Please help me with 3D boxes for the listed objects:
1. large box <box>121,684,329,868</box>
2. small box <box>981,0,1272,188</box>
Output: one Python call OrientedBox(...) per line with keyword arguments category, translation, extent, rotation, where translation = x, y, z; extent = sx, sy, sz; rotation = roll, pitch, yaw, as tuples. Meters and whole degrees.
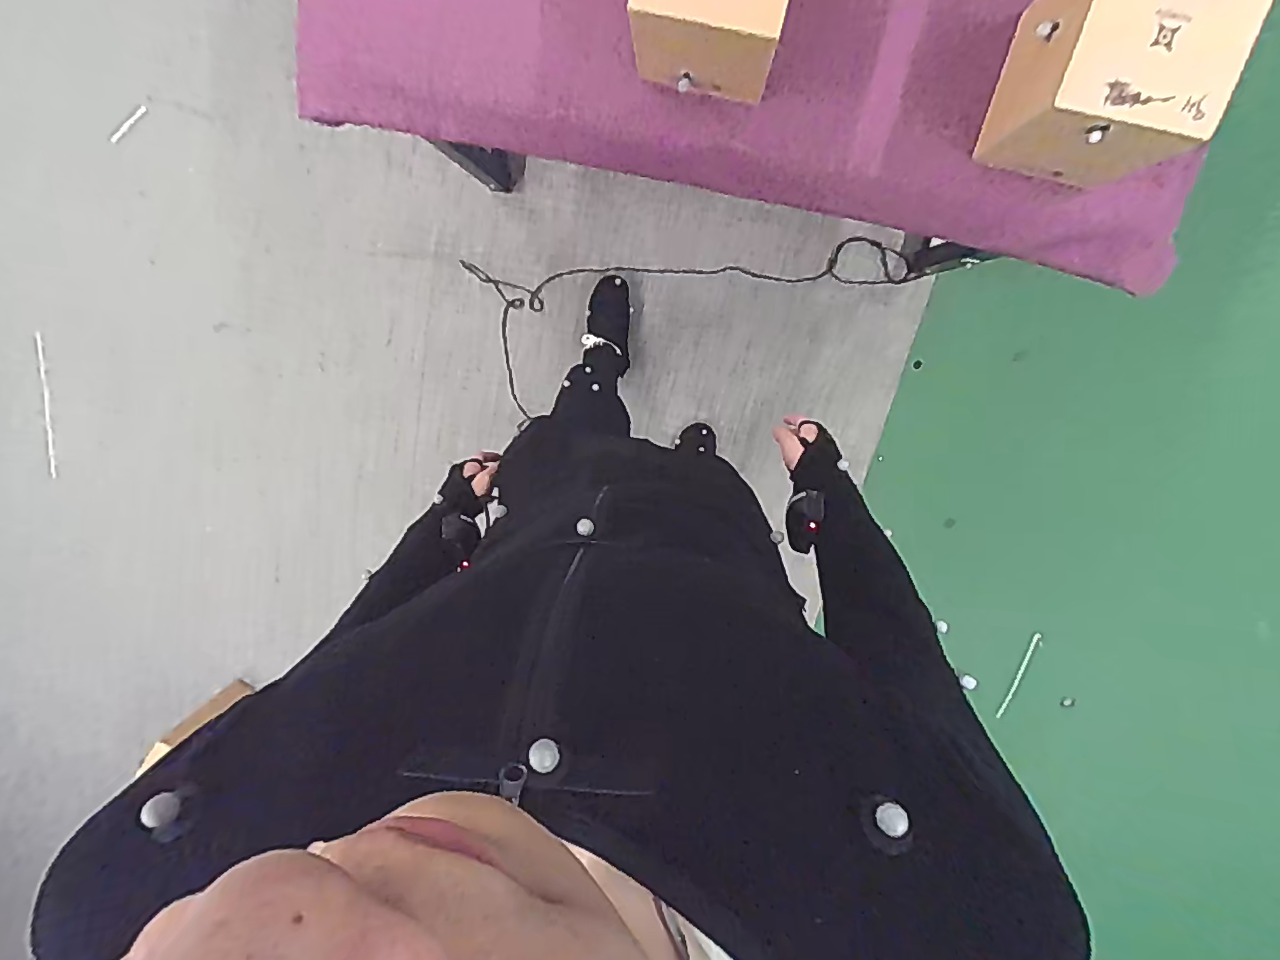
OrientedBox(category="large box", translation=(-1.372, 0.978, 1.819), extent=(0.408, 0.320, 0.320), rotation=(35, 105, -7))
OrientedBox(category="small box", translation=(0.532, -0.466, 0.615), extent=(0.168, 0.176, 0.179), rotation=(14, 103, 1))
